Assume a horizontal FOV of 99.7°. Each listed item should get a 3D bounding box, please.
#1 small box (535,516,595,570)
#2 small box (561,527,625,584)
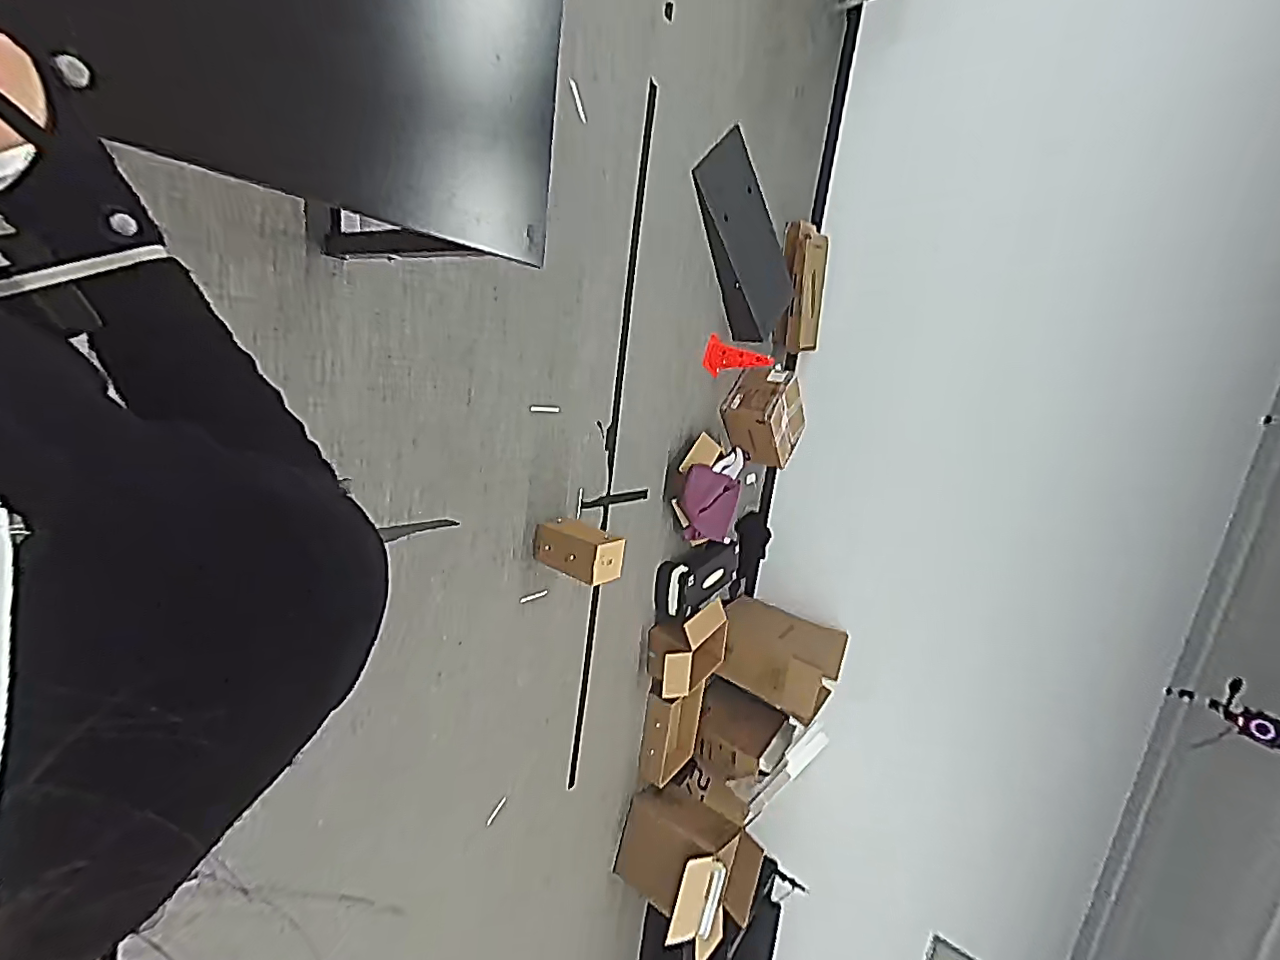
[{"bbox_3d":[-0.314,0.256,2.247,0.179,0.176,0.168,-8,109,-53],"label":"small box"},{"bbox_3d":[-0.186,0.292,2.148,0.179,0.176,0.168,-6,107,-54],"label":"small box"}]
